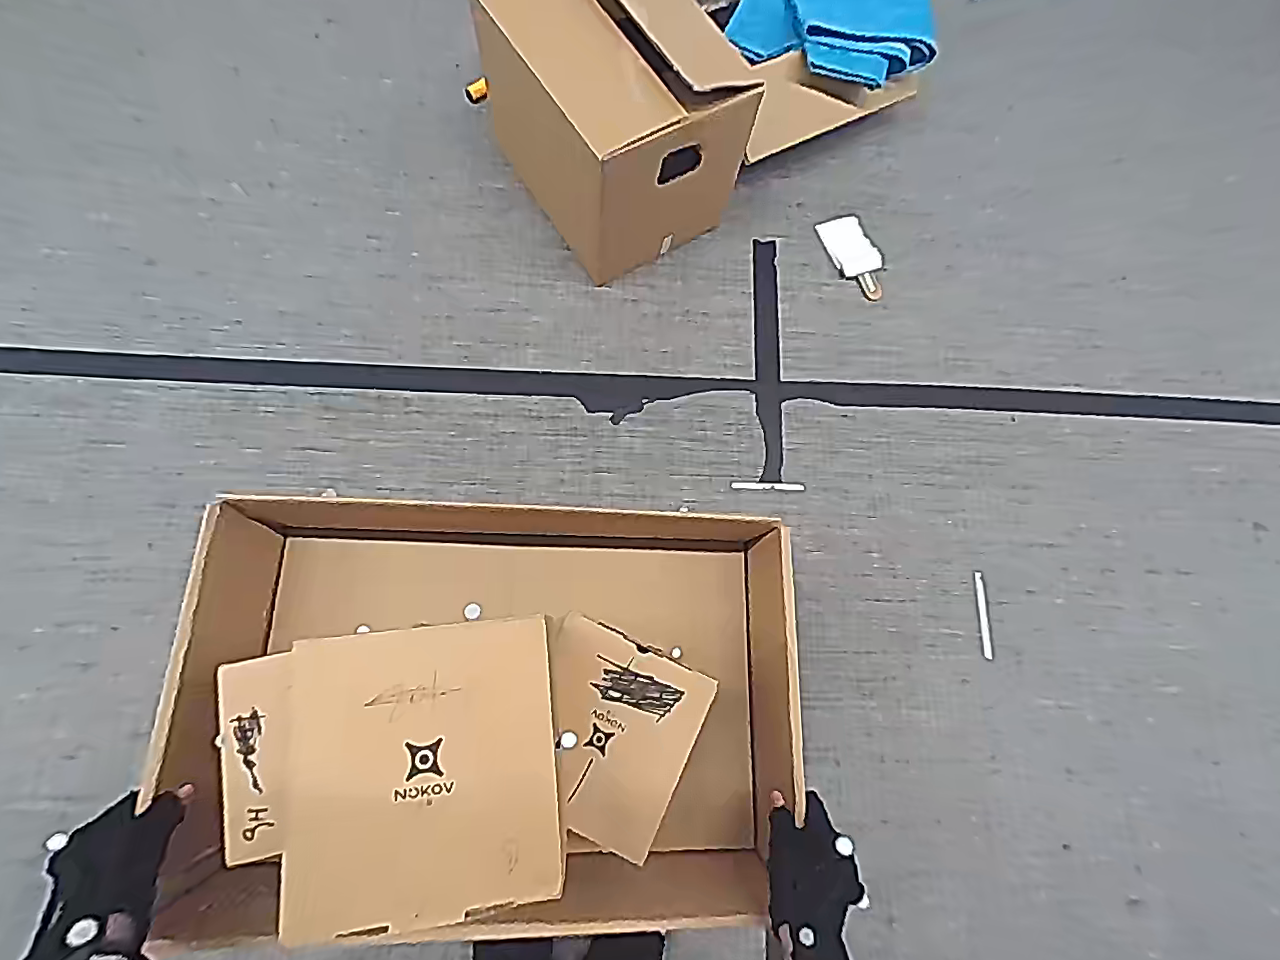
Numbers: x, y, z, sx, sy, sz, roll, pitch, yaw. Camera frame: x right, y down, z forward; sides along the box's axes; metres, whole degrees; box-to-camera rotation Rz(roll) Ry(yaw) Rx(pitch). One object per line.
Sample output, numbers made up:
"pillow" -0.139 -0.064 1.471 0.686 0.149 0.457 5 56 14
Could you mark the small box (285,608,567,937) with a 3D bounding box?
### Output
"small box" -0.146 0.200 0.425 0.168 0.176 0.179 -5 75 -9
